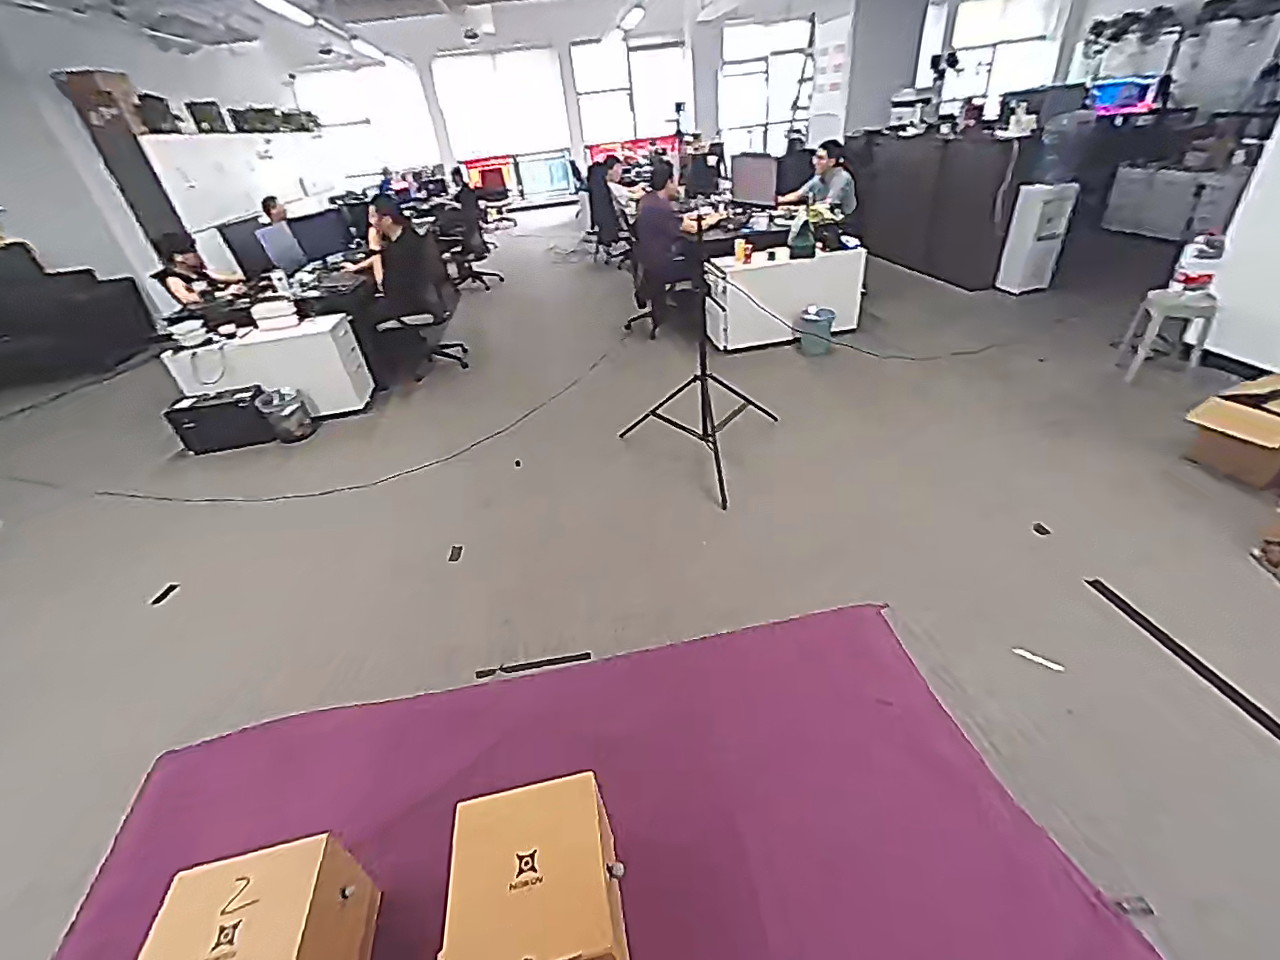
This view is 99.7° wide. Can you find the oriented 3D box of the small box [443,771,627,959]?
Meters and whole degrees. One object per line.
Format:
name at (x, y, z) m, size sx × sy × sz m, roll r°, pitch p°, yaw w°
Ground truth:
small box at (-0.112, 0.477, 0.619) m, size 0.168 × 0.176 × 0.179 m, roll -11°, pitch 34°, yaw -6°
